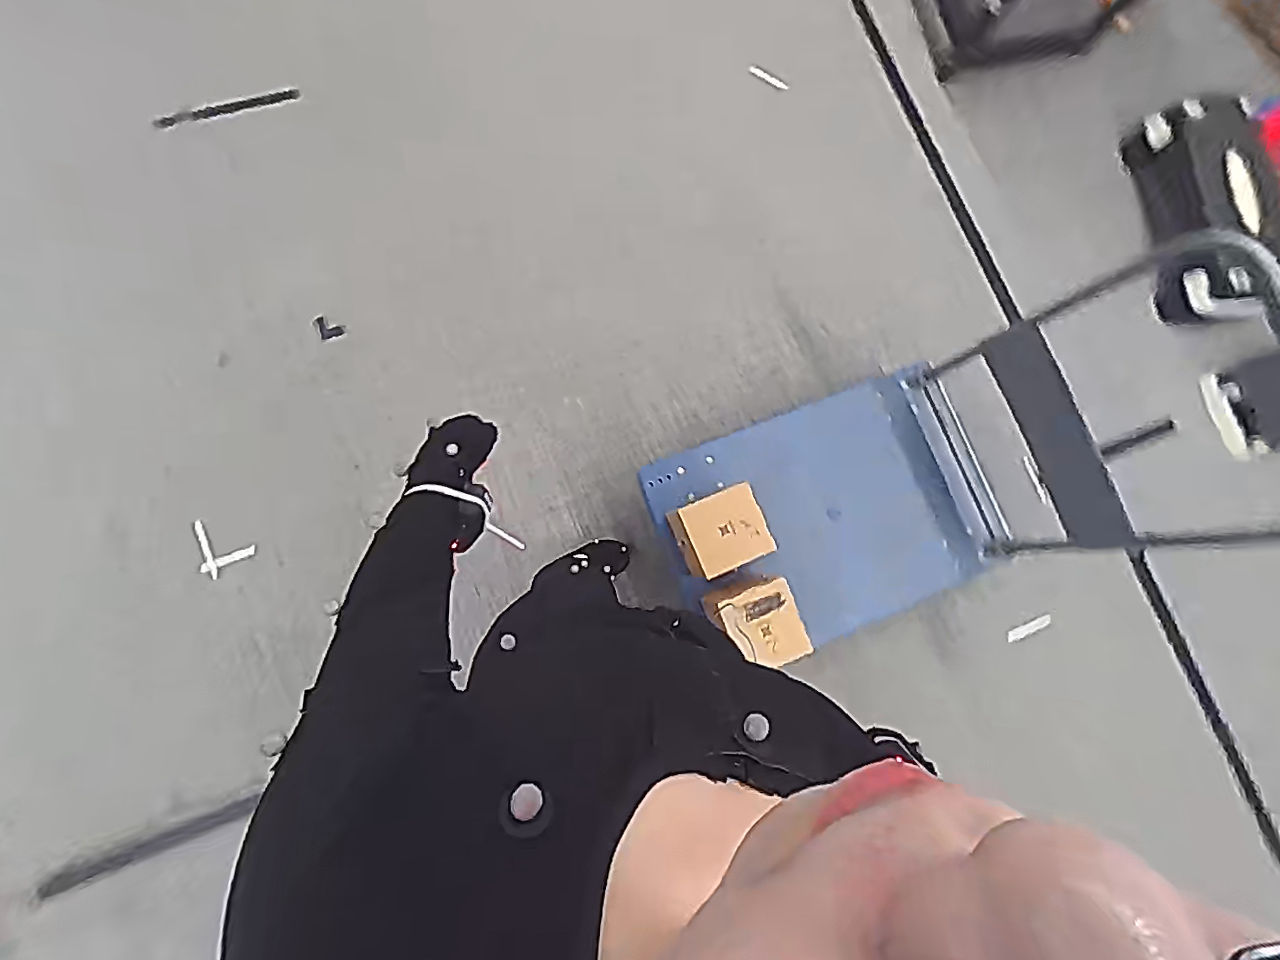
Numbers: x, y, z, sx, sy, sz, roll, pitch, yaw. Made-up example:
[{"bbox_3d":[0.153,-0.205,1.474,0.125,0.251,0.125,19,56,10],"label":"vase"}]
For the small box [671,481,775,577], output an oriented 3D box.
[{"bbox_3d":[0.182,0.118,1.266,0.179,0.176,0.168,-22,85,-9],"label":"small box"}]
